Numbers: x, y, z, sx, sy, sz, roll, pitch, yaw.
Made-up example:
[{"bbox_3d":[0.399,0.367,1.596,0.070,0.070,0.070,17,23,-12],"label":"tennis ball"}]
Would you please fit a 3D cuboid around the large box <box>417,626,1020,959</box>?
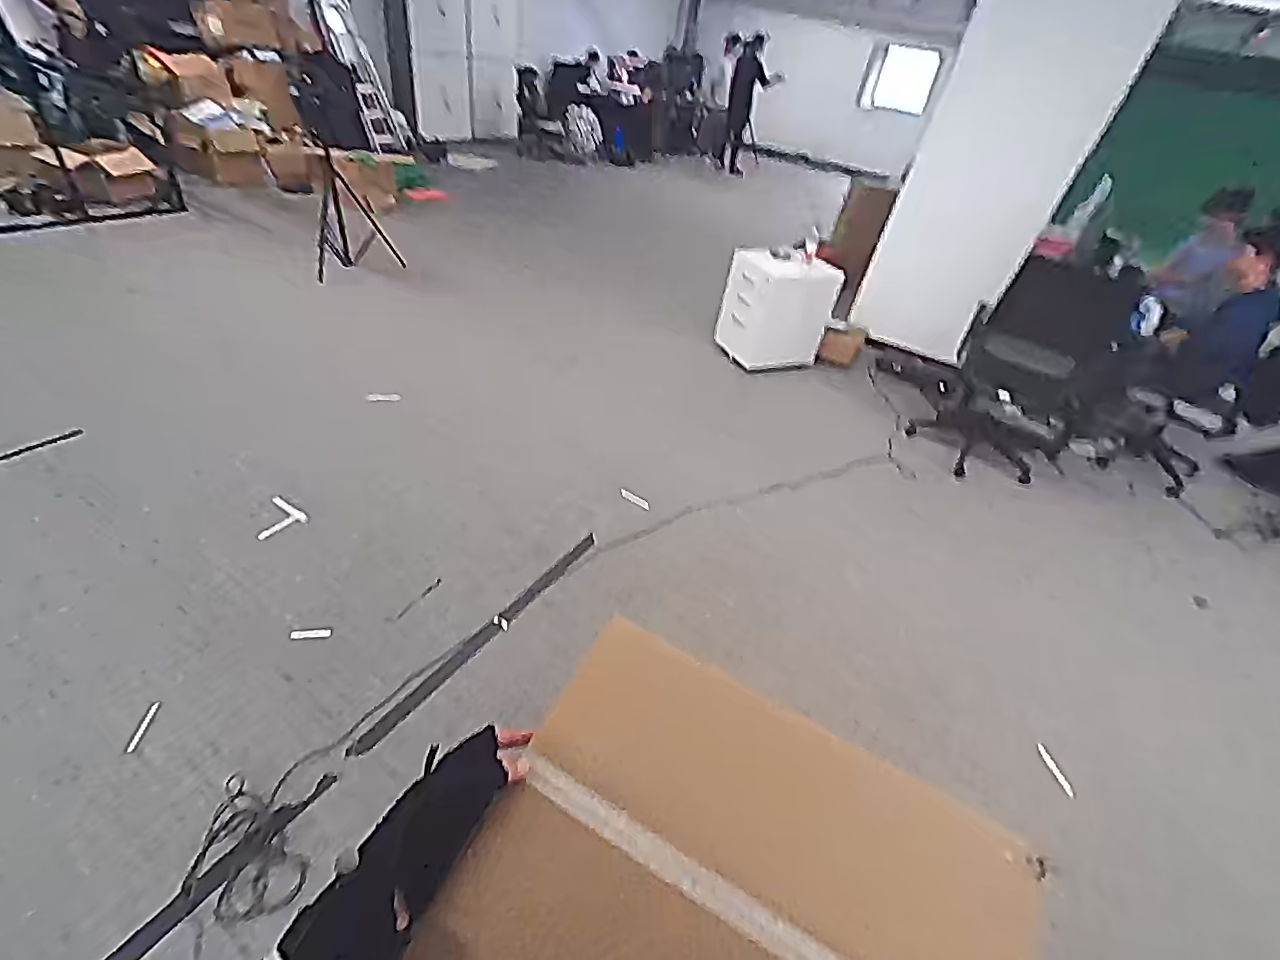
[{"bbox_3d":[0.070,0.422,0.545,0.408,0.320,0.320,25,56,17],"label":"large box"}]
